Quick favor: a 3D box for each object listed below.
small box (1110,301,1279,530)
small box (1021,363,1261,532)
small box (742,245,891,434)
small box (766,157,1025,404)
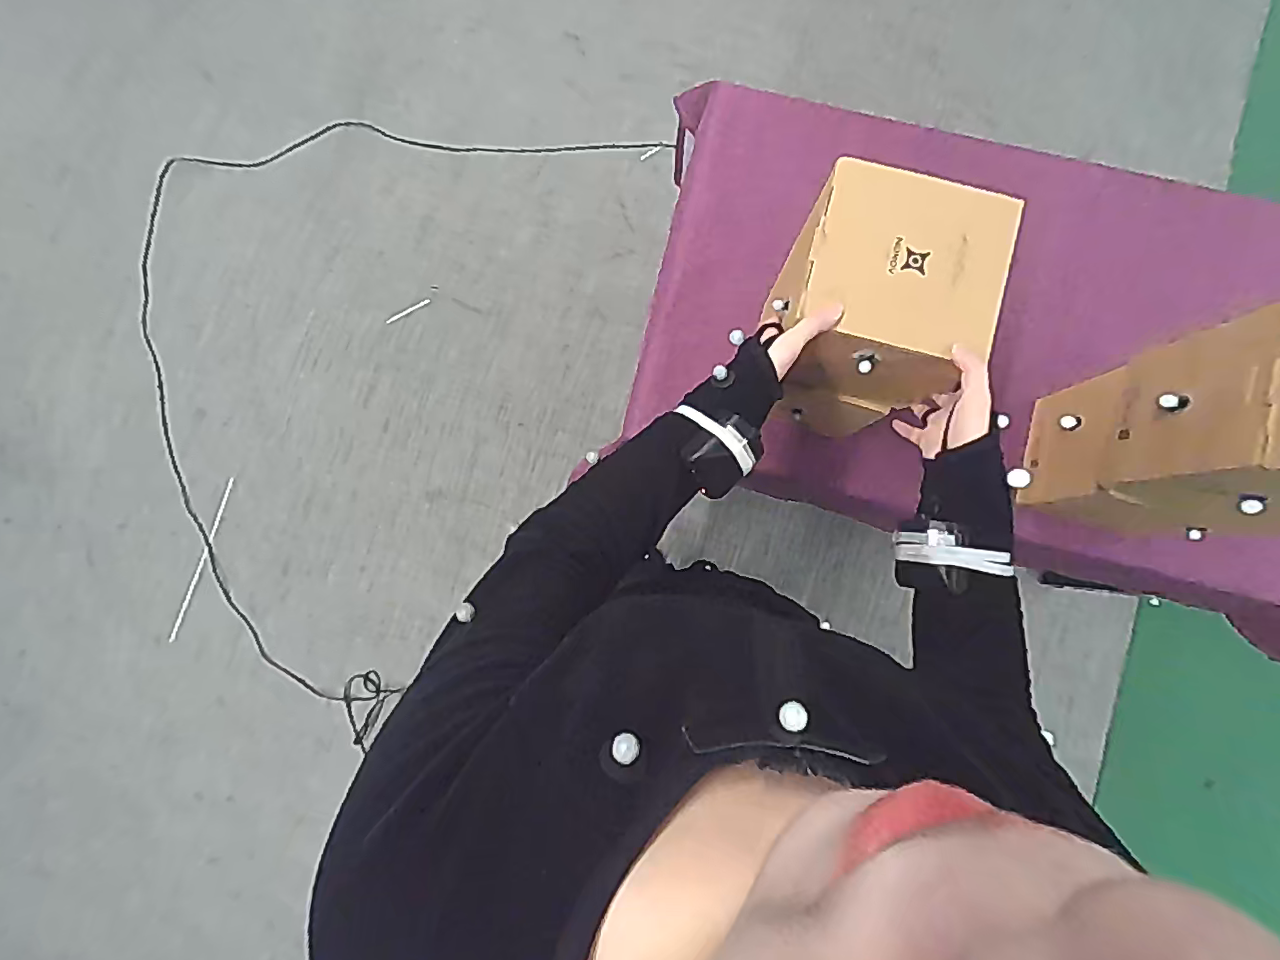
[{"bbox_3d":[0.636,-0.051,0.542,0.179,0.176,0.168,20,85,4],"label":"small box"},{"bbox_3d":[0.646,-0.030,0.705,0.179,0.176,0.168,16,84,3],"label":"small box"},{"bbox_3d":[0.244,-0.174,0.729,0.168,0.176,0.179,17,84,2],"label":"small box"},{"bbox_3d":[0.245,-0.190,0.566,0.179,0.176,0.168,16,86,3],"label":"small box"}]
